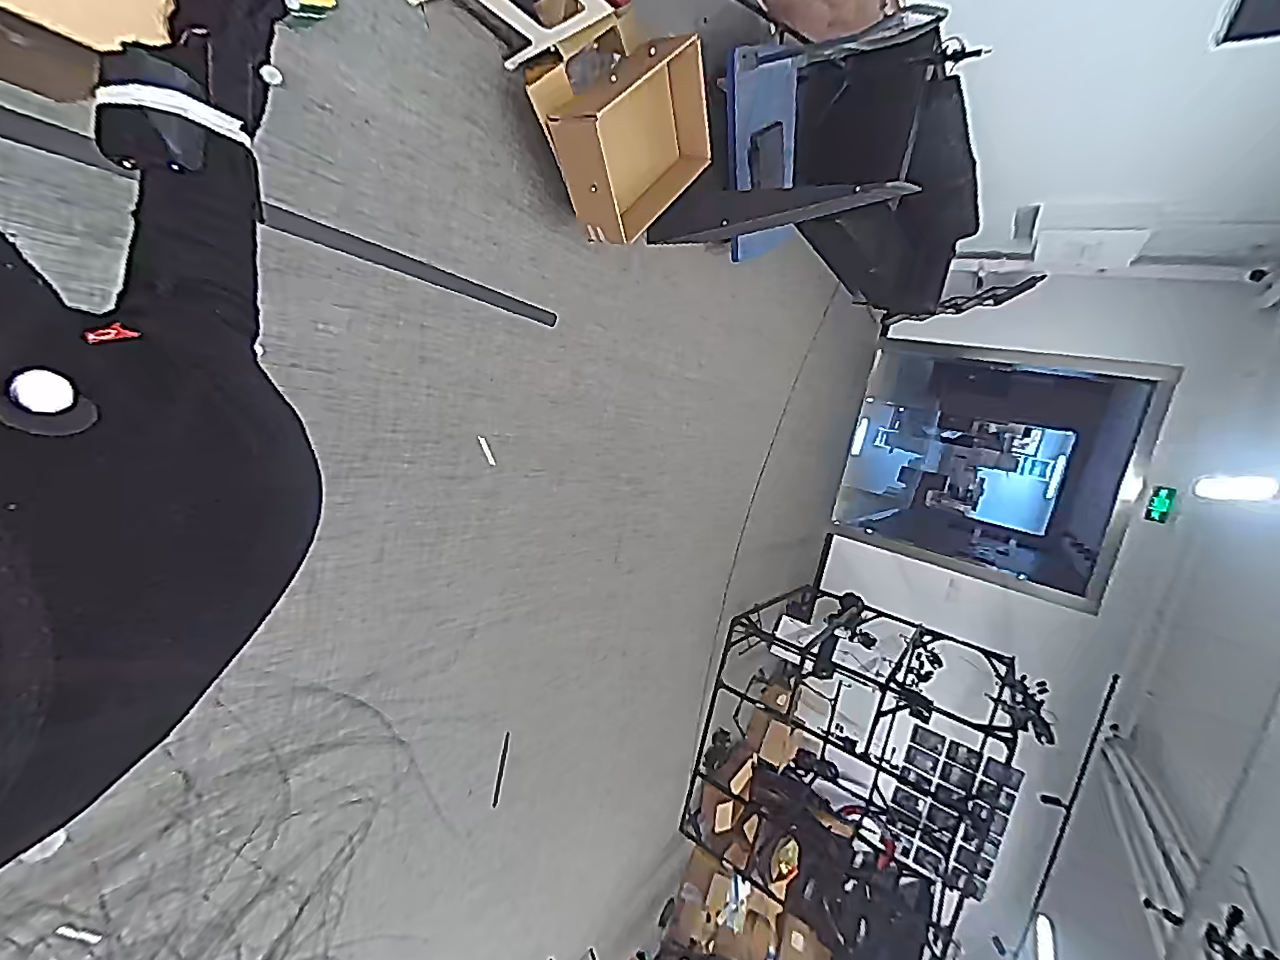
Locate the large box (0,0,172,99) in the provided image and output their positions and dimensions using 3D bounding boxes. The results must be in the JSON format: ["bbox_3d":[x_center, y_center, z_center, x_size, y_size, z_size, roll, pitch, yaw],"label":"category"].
[{"bbox_3d":[-0.537,-0.469,0.273,0.408,0.320,0.320,-3,112,-57],"label":"large box"}]
